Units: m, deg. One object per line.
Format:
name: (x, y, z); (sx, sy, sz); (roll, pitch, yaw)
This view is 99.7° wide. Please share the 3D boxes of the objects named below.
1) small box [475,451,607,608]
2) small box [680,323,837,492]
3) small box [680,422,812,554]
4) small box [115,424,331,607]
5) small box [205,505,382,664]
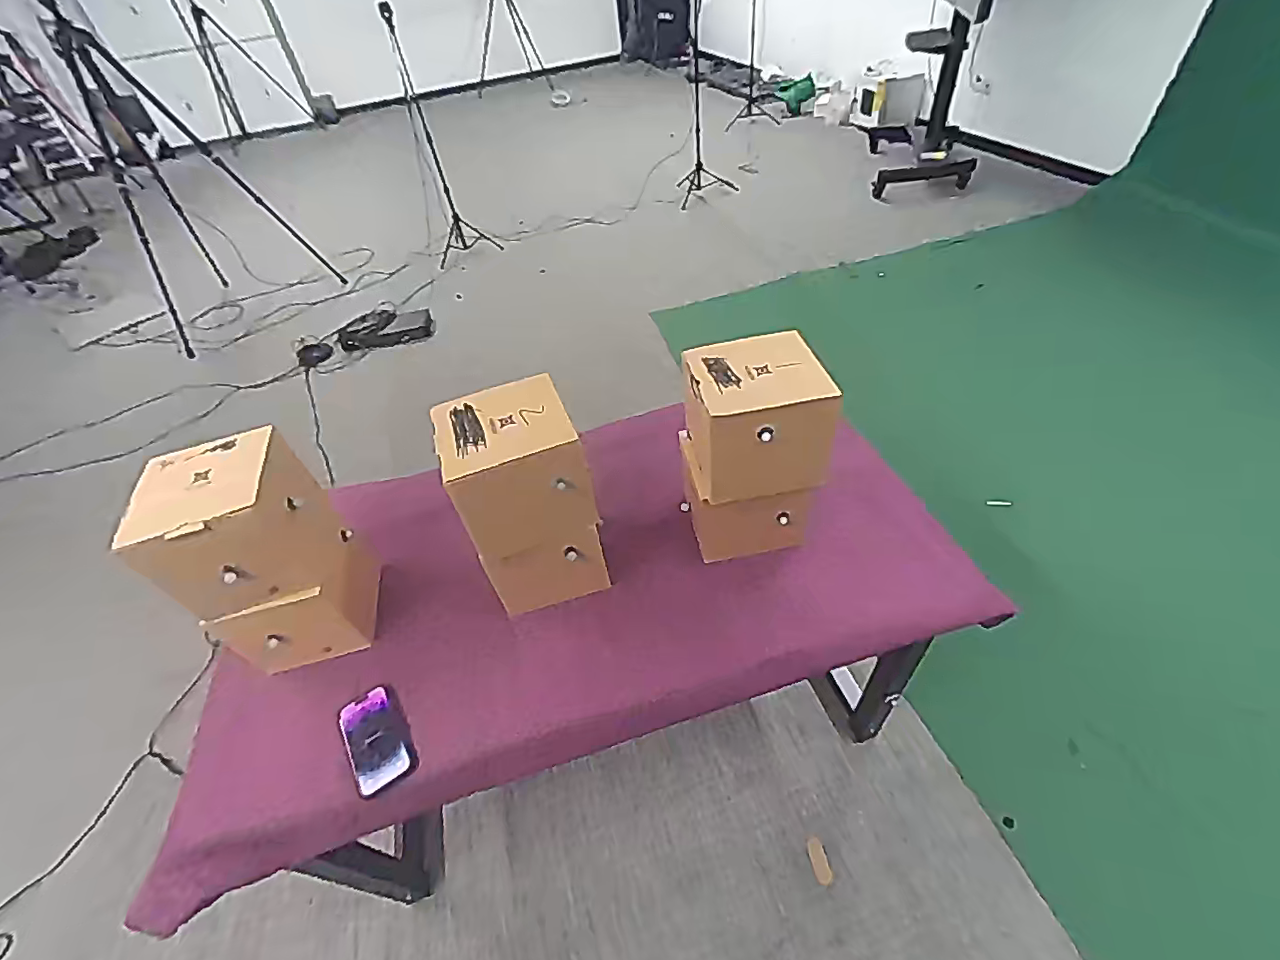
small box: (-0.158, 0.083, 0.894); (0.179, 0.176, 0.168); (-16, 46, -6)
small box: (0.165, -0.102, 0.792); (0.179, 0.176, 0.168); (-11, 45, -2)
small box: (0.172, 0.003, 0.919); (0.179, 0.176, 0.168); (-12, 45, -1)
small box: (-0.559, 0.056, 0.758); (0.168, 0.176, 0.179); (-18, 47, -9)
small box: (-0.537, 0.175, 0.870); (0.168, 0.176, 0.179); (-15, 46, -5)
